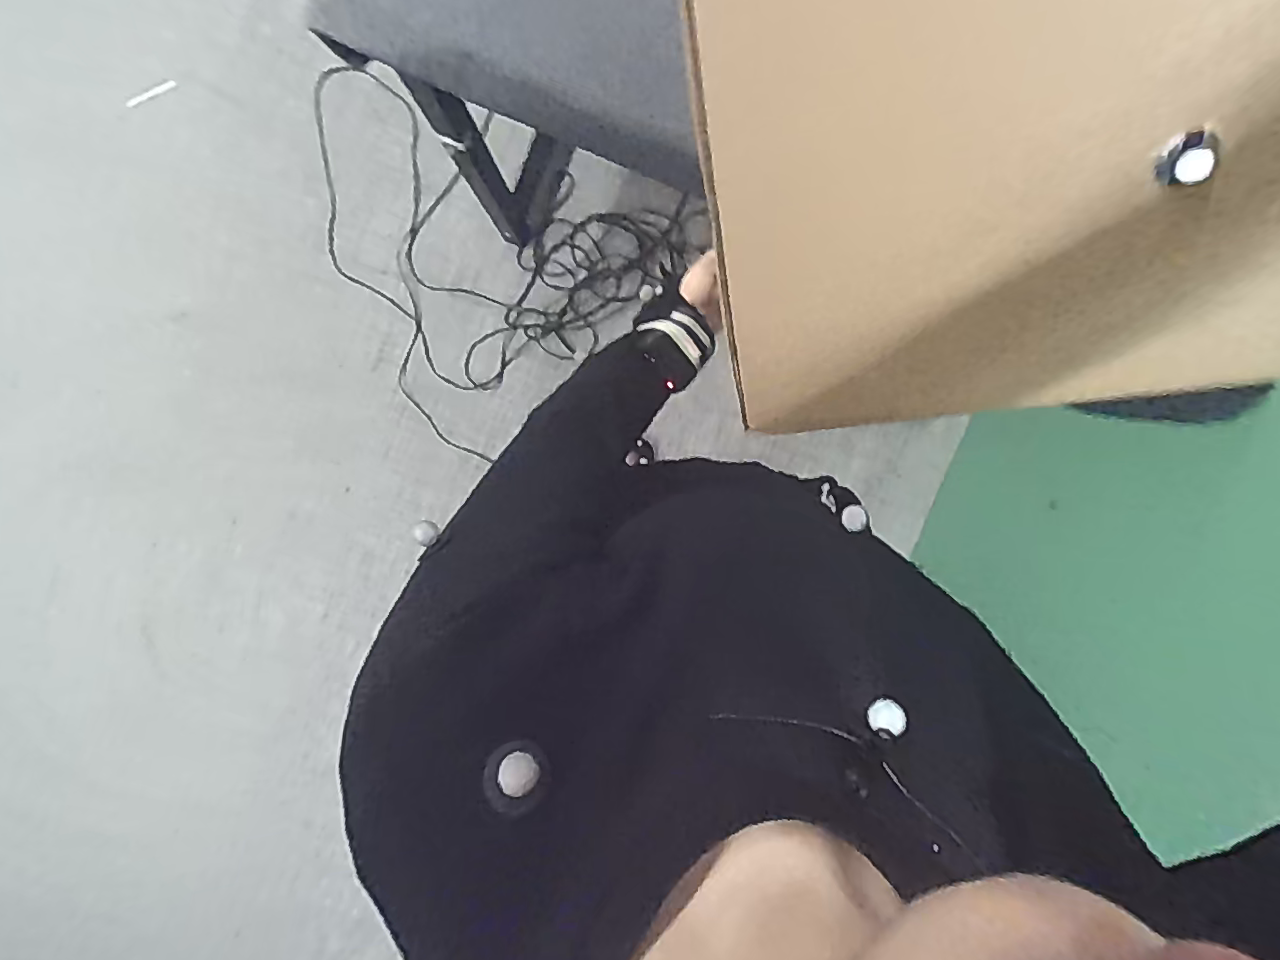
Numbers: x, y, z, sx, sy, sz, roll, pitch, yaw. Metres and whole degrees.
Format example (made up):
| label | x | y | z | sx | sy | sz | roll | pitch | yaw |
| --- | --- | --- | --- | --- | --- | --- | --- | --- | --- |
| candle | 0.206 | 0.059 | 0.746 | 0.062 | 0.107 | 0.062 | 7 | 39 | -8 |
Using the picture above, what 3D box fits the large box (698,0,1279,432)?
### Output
| label | x | y | z | sx | sy | sz | roll | pitch | yaw |
| --- | --- | --- | --- | --- | --- | --- | --- | --- | --- |
| large box | 0.253 | -0.266 | 0.347 | 0.408 | 0.320 | 0.320 | -7 | 136 | 14 |
